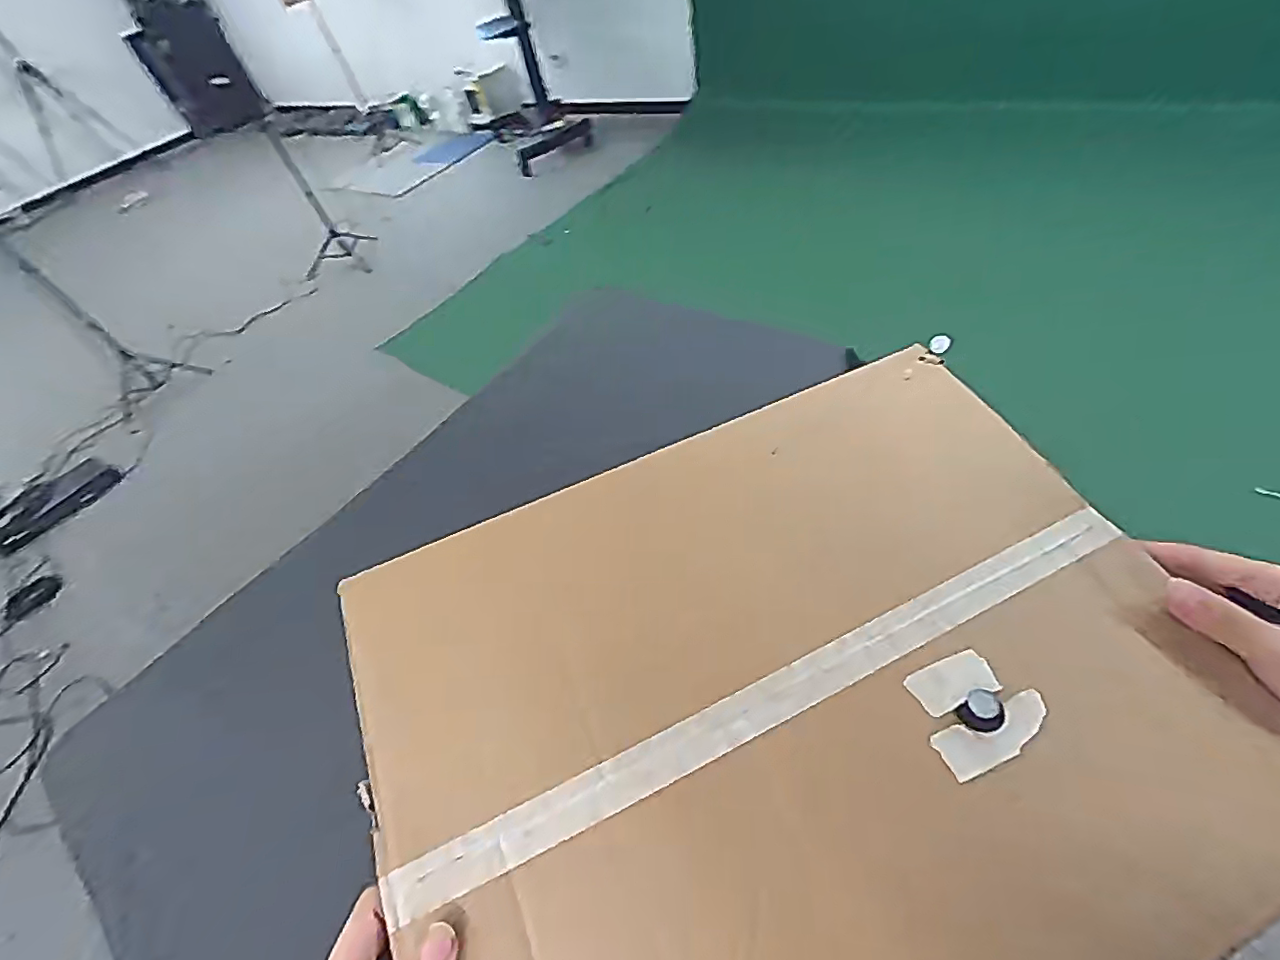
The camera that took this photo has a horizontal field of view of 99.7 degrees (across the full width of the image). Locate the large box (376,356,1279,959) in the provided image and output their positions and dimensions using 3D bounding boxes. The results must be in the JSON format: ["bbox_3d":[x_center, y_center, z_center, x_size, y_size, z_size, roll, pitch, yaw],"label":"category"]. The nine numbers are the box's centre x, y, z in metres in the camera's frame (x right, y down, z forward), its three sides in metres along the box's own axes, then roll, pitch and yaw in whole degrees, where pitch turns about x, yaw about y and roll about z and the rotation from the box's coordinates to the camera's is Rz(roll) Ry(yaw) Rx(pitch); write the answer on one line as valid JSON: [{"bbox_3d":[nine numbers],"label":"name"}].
[{"bbox_3d":[0.089,0.177,0.411,0.408,0.320,0.320,-22,61,-11],"label":"large box"}]
